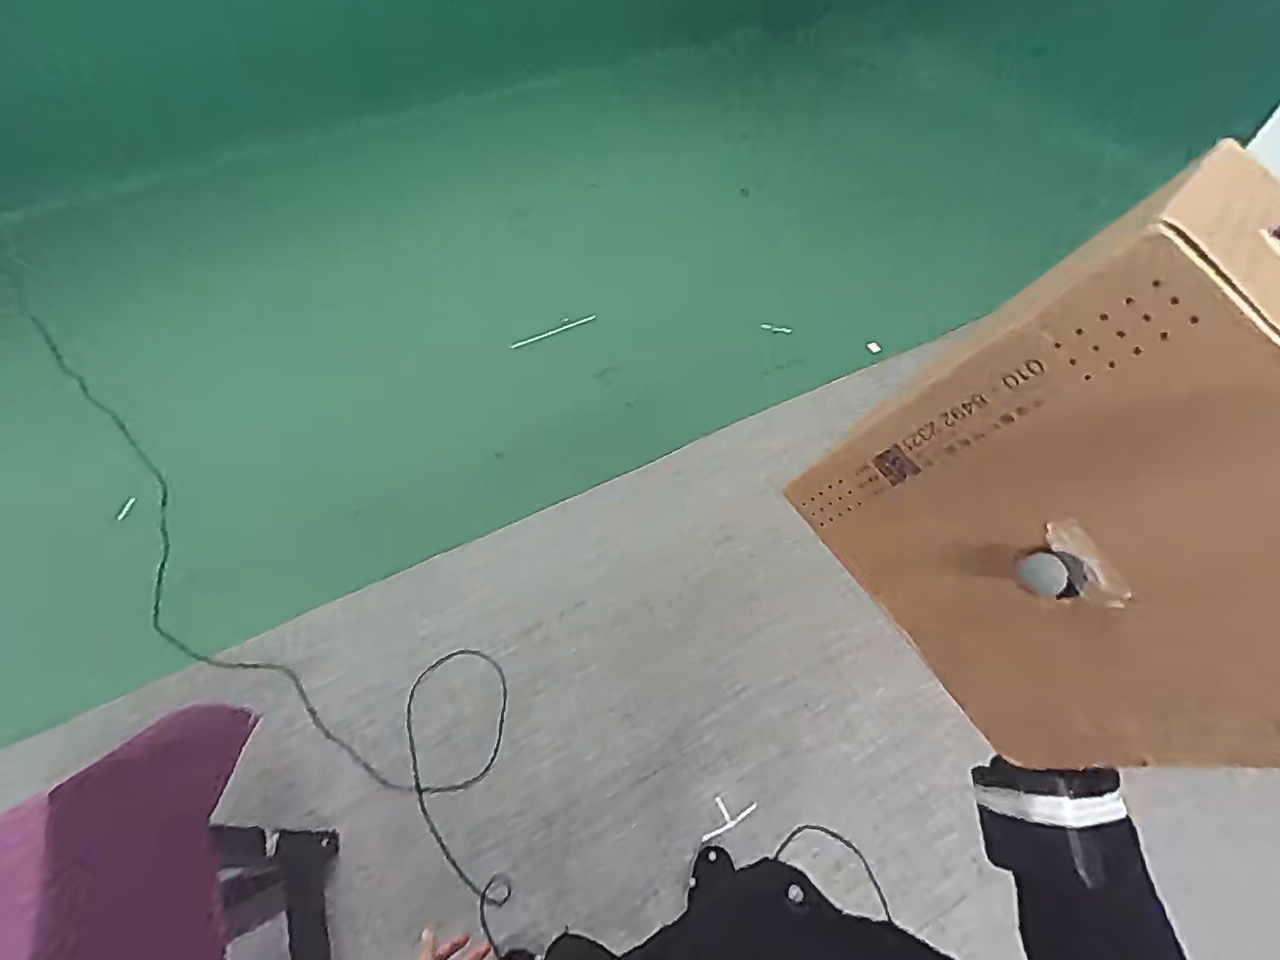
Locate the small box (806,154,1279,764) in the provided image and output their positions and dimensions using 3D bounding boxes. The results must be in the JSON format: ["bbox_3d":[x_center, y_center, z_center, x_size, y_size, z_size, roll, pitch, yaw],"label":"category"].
[{"bbox_3d":[0.211,-0.007,0.239,0.179,0.168,0.176,-32,81,-32],"label":"small box"}]
